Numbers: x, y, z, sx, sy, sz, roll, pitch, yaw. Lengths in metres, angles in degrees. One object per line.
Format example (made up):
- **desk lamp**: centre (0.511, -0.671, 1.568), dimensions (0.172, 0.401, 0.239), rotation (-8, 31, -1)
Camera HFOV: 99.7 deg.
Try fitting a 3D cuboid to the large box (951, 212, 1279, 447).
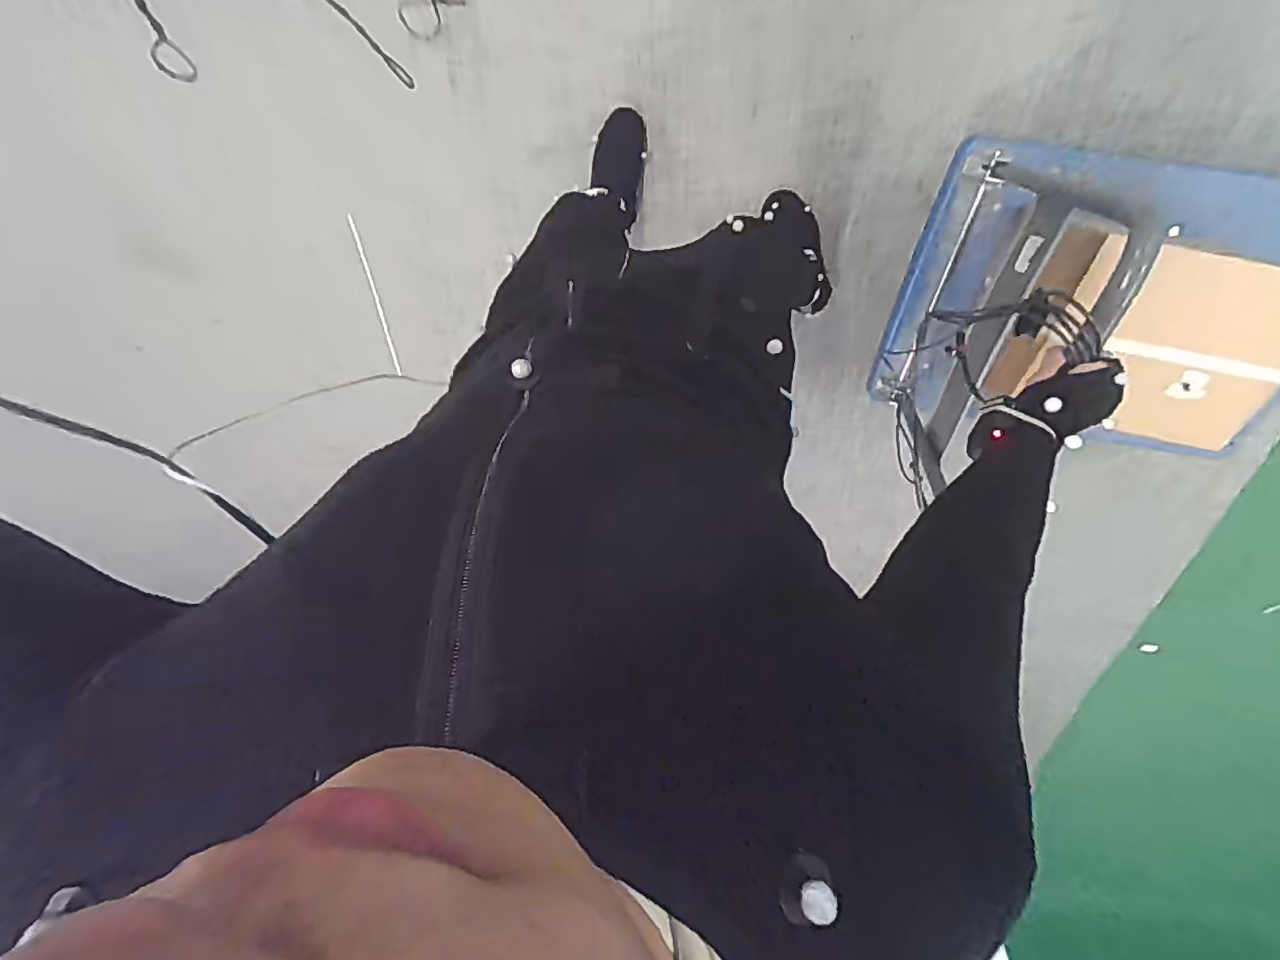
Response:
- **large box**: centre (0.913, -0.303, 1.049), dimensions (0.408, 0.320, 0.320), rotation (12, 126, 1)
